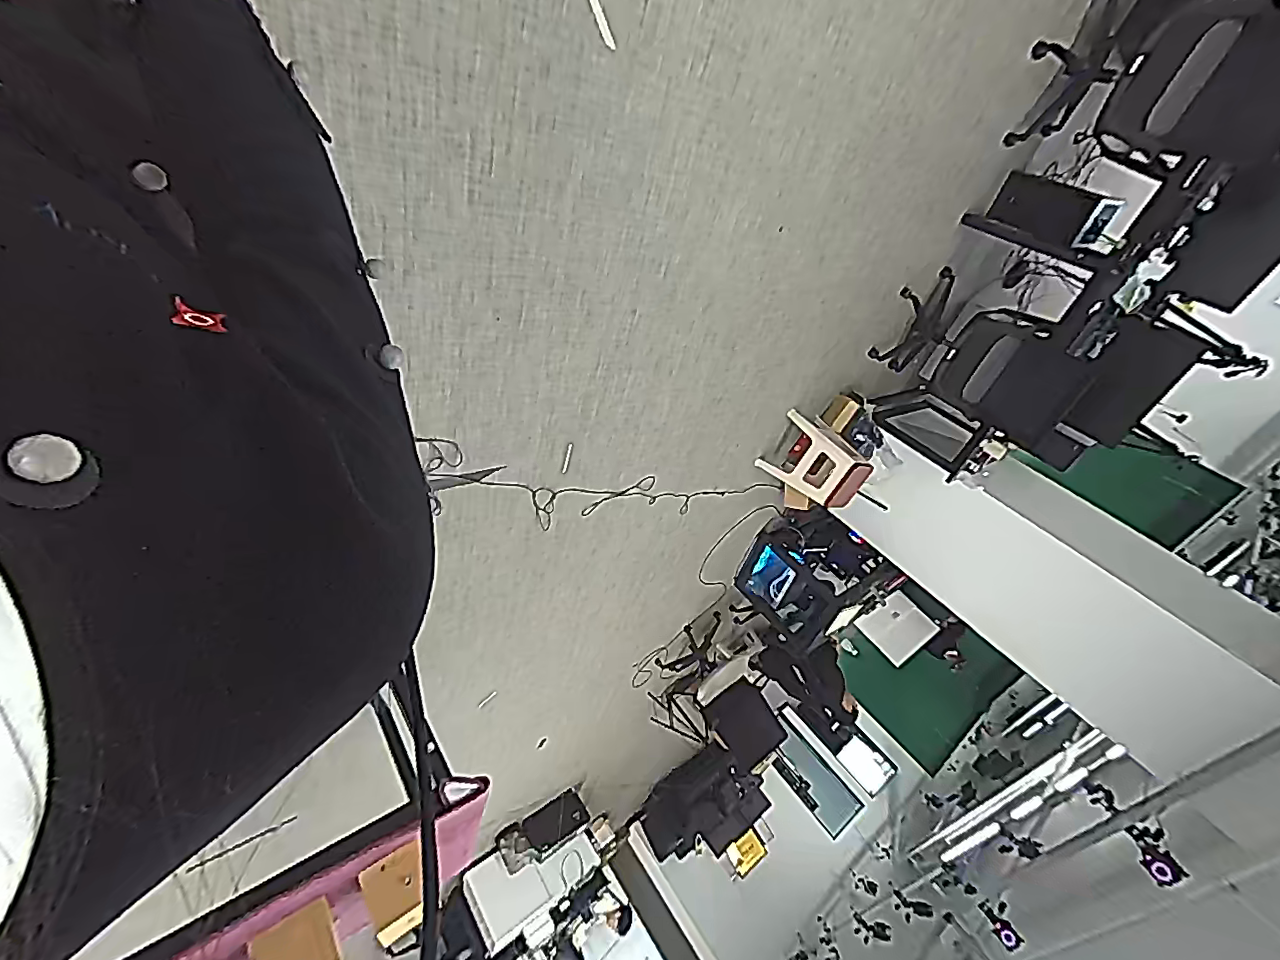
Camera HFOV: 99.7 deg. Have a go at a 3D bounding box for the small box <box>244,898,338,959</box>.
[{"bbox_3d":[-0.893,1.235,1.390,0.179,0.176,0.168,-17,139,-36],"label":"small box"}]

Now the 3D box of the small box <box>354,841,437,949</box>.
[{"bbox_3d":[-0.700,1.181,1.550,0.168,0.176,0.179,-20,141,-33],"label":"small box"}]
